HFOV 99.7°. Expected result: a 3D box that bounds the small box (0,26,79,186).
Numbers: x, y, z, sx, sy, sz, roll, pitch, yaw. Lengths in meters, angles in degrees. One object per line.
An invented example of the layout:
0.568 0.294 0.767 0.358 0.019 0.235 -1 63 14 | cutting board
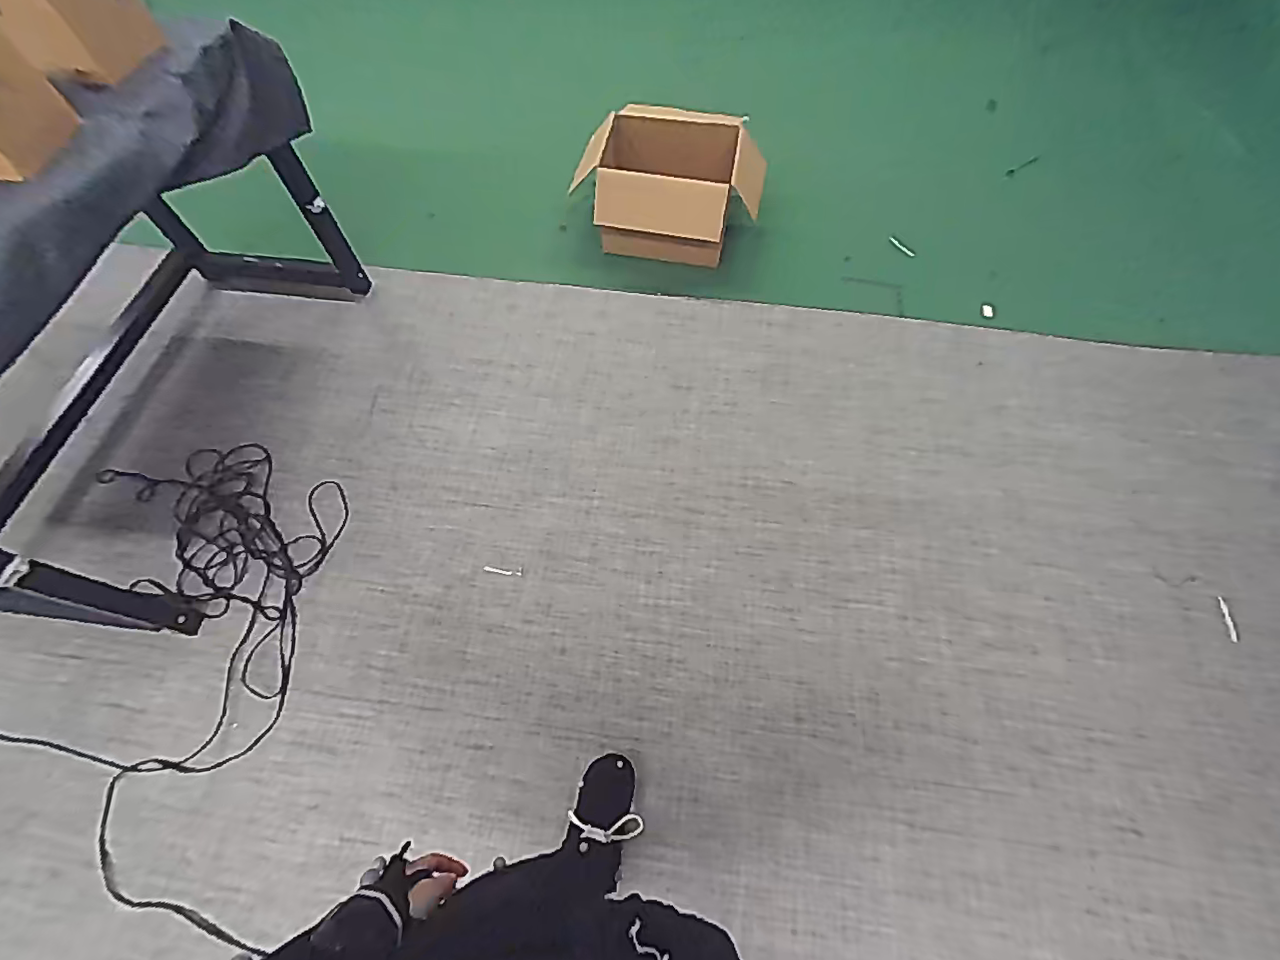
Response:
-1.111 -0.624 0.896 0.168 0.176 0.179 4 63 2 | small box
